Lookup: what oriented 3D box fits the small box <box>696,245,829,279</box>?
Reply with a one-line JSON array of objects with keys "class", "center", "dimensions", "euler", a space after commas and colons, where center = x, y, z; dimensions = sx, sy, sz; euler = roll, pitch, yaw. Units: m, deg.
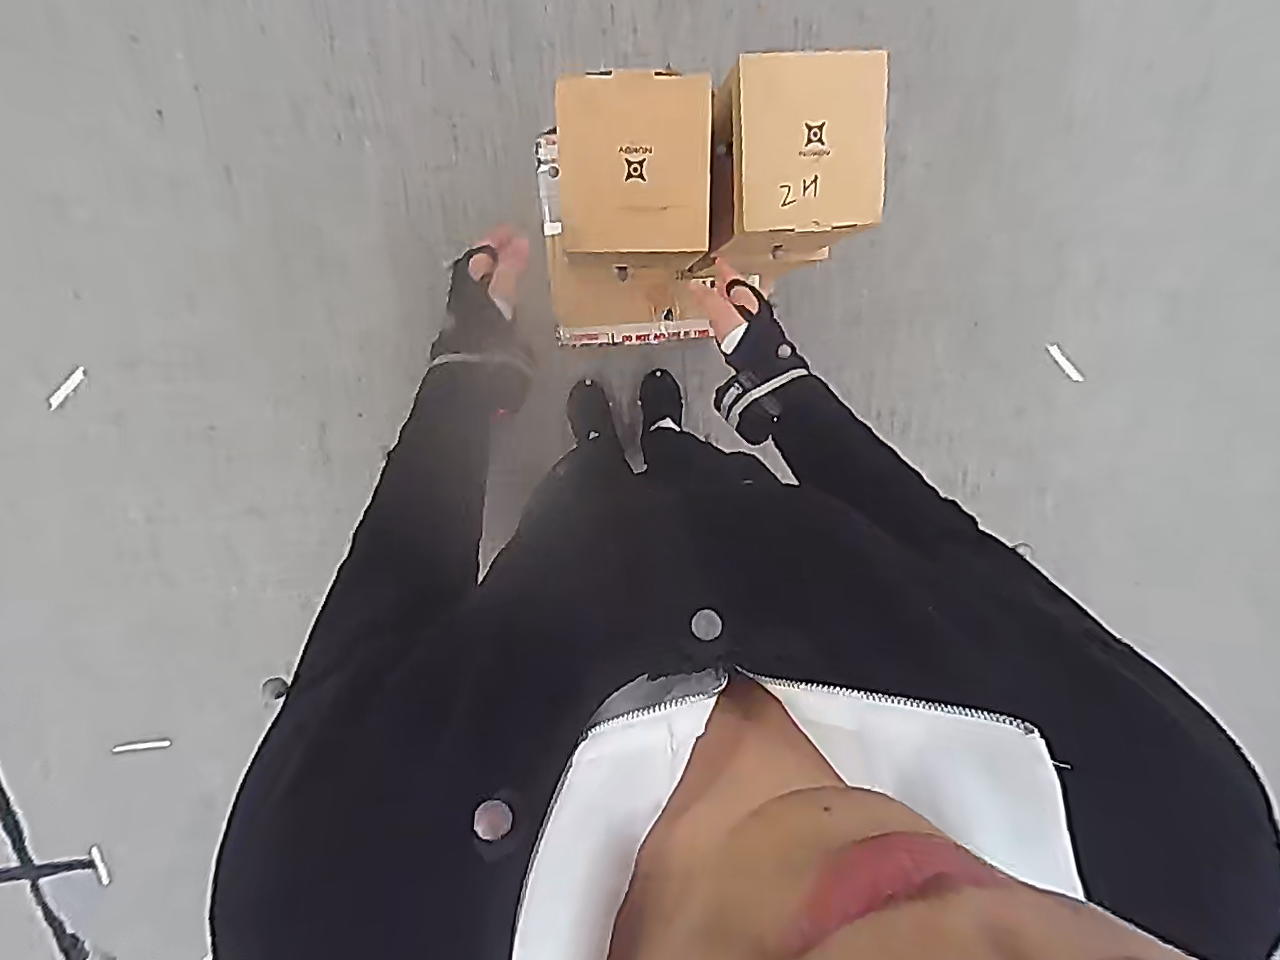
[{"class": "small box", "center": [0.180, -0.412, 0.832], "dimensions": [0.168, 0.176, 0.179], "euler": [-3, 105, -6]}]

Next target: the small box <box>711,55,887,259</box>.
[{"class": "small box", "center": [0.181, -0.382, 0.669], "dimensions": [0.168, 0.176, 0.179], "euler": [-6, 105, -5]}]

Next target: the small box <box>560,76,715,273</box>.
[{"class": "small box", "center": [-0.006, -0.355, 0.659], "dimensions": [0.168, 0.176, 0.179], "euler": [-2, 106, -2]}]
